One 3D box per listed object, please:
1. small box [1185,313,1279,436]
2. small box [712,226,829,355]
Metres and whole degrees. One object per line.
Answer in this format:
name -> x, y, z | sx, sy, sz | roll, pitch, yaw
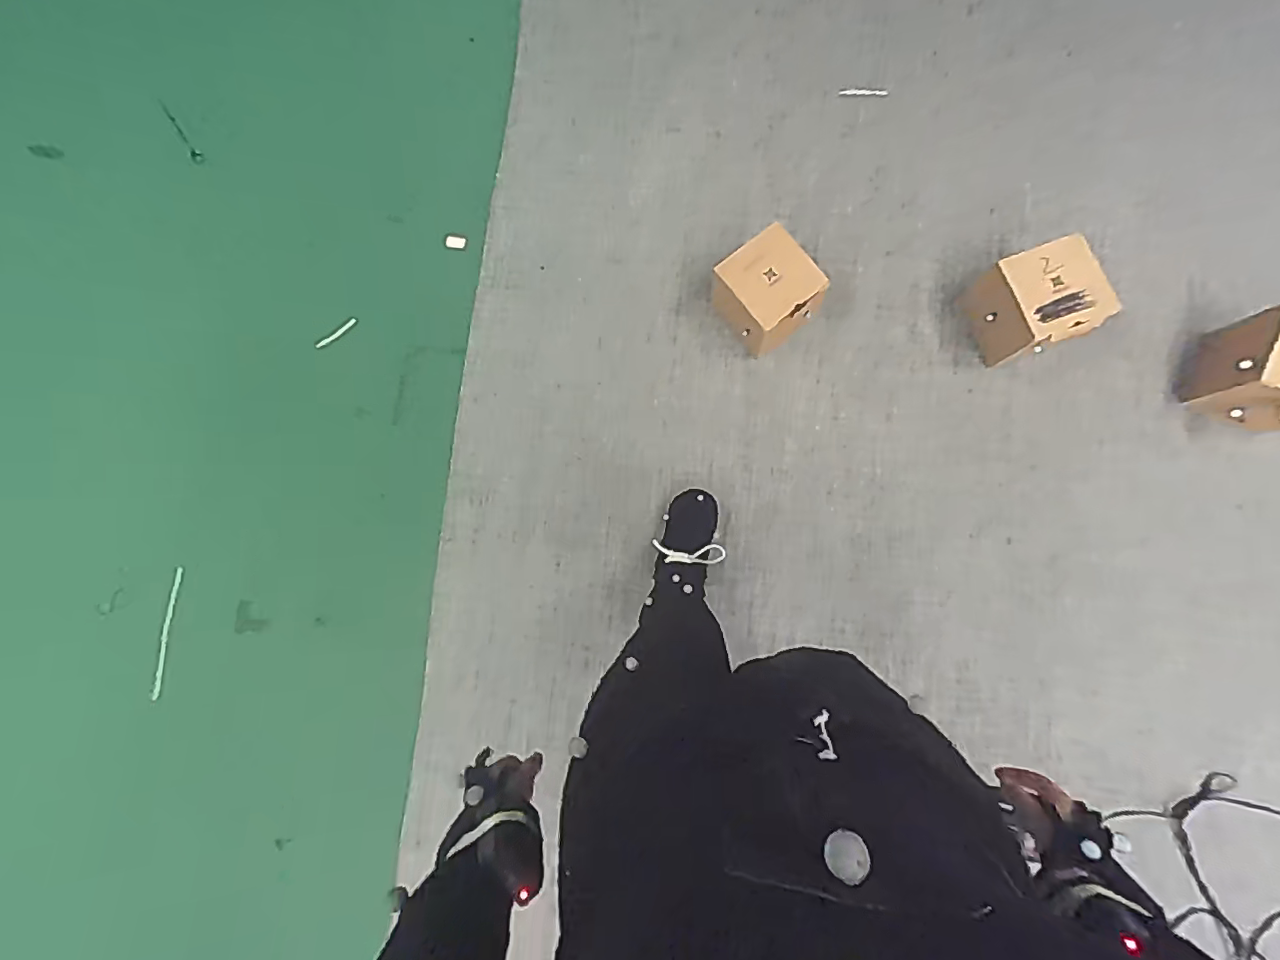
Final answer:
small box -> 1.235, -0.205, 1.049 | 0.168, 0.176, 0.179 | 26, 87, 7
small box -> 0.271, -0.392, 1.163 | 0.168, 0.176, 0.179 | -37, 80, 0
